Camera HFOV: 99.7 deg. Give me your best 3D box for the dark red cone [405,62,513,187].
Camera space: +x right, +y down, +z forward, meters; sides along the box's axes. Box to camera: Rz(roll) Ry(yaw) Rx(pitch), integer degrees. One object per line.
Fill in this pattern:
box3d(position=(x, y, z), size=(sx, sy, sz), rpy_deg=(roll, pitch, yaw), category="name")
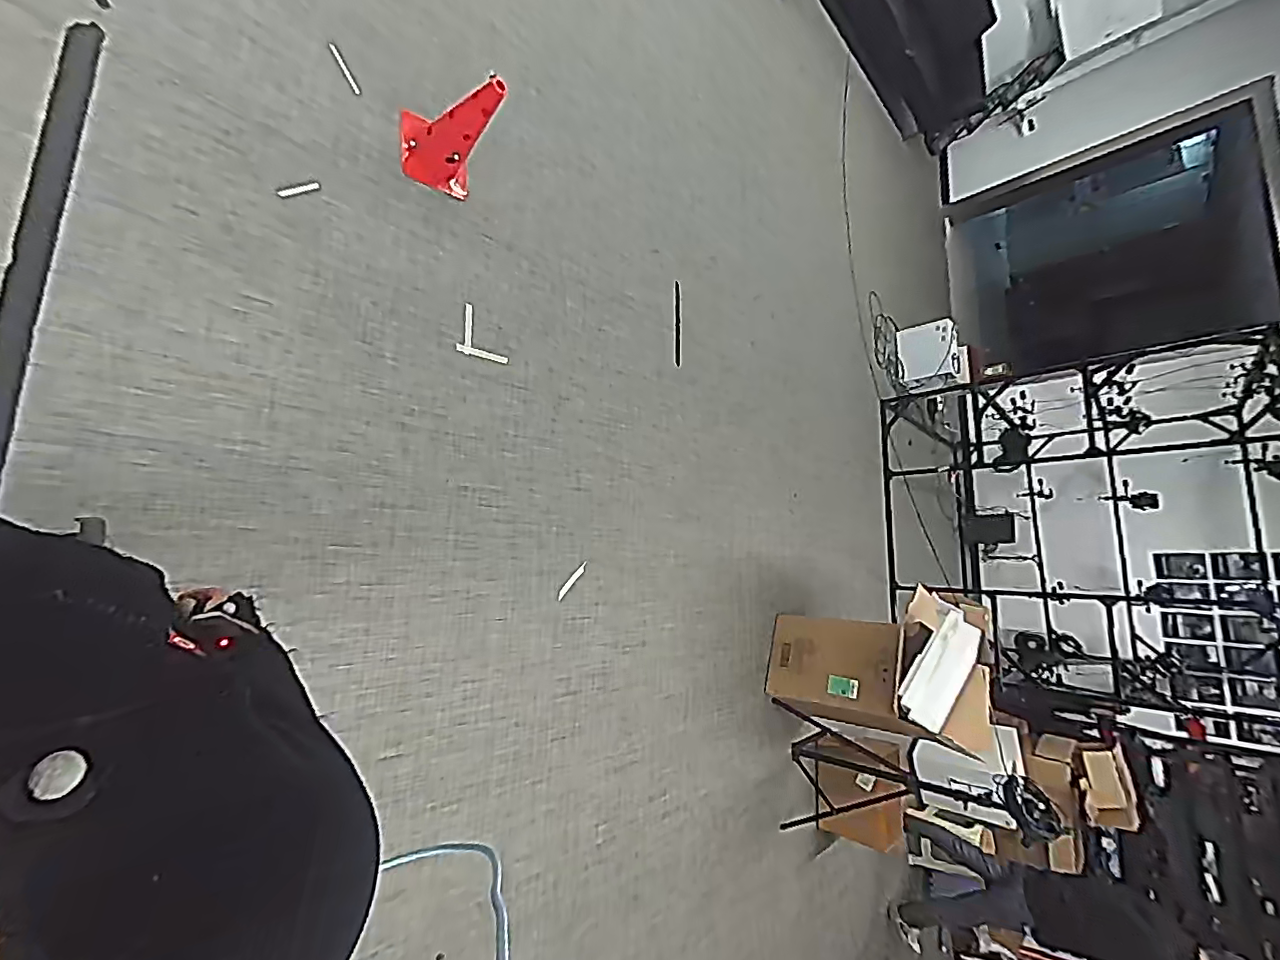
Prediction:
box3d(position=(-0.461, -0.979, 1.444), size=(0.201, 0.394, 0.202), rpy_deg=(0, 85, -46), category="dark red cone")
